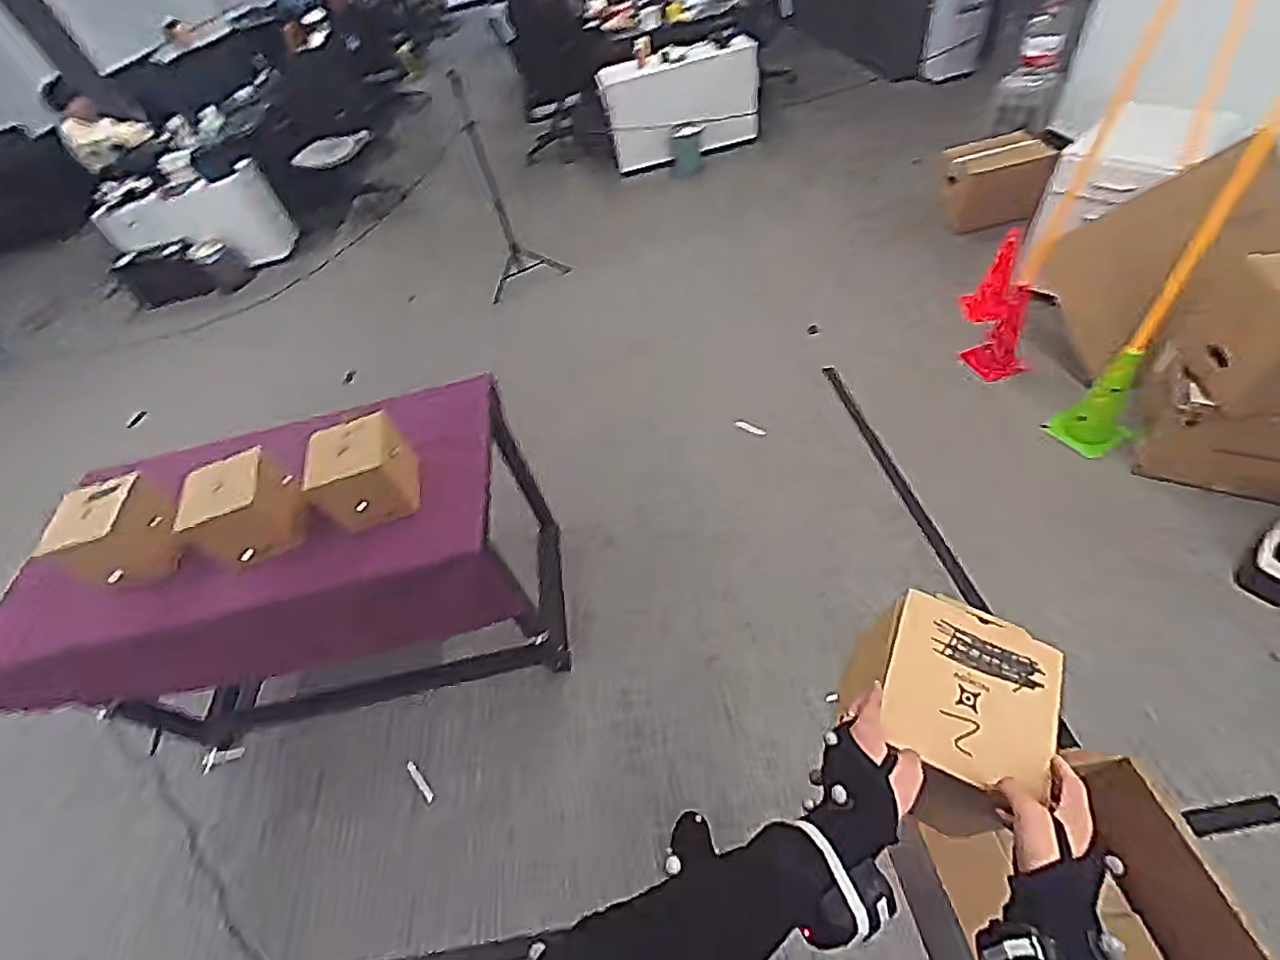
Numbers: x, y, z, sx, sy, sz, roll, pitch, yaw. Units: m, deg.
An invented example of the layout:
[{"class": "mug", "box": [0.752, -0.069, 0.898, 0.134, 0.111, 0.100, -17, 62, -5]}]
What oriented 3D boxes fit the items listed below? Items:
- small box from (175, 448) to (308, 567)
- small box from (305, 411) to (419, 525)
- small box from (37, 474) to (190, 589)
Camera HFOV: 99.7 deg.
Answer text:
[{"class": "small box", "box": [-0.878, 0.064, 1.215, 0.168, 0.176, 0.179, -22, 50, -4]}, {"class": "small box", "box": [-0.614, -0.018, 1.217, 0.168, 0.176, 0.179, -18, 49, -2]}, {"class": "small box", "box": [-1.178, 0.120, 1.237, 0.168, 0.176, 0.179, -17, 50, 0]}]
